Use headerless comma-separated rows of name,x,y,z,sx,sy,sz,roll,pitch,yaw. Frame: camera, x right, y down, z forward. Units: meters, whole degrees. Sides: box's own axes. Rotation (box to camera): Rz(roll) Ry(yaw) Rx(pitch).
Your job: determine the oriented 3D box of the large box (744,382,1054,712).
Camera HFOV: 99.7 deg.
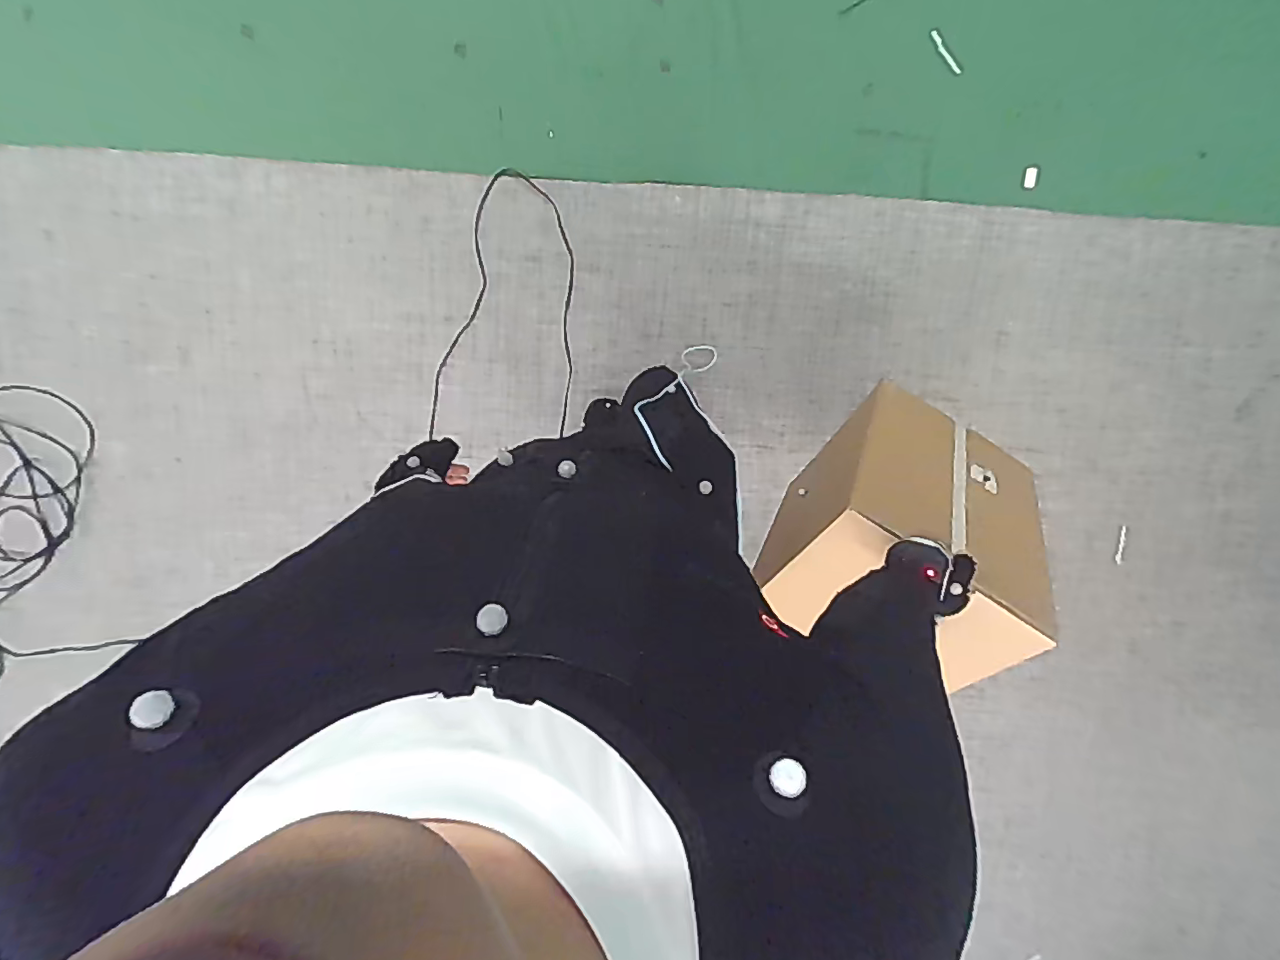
large box,0.428,0.106,0.939,0.320,0.408,0.320,35,134,3
